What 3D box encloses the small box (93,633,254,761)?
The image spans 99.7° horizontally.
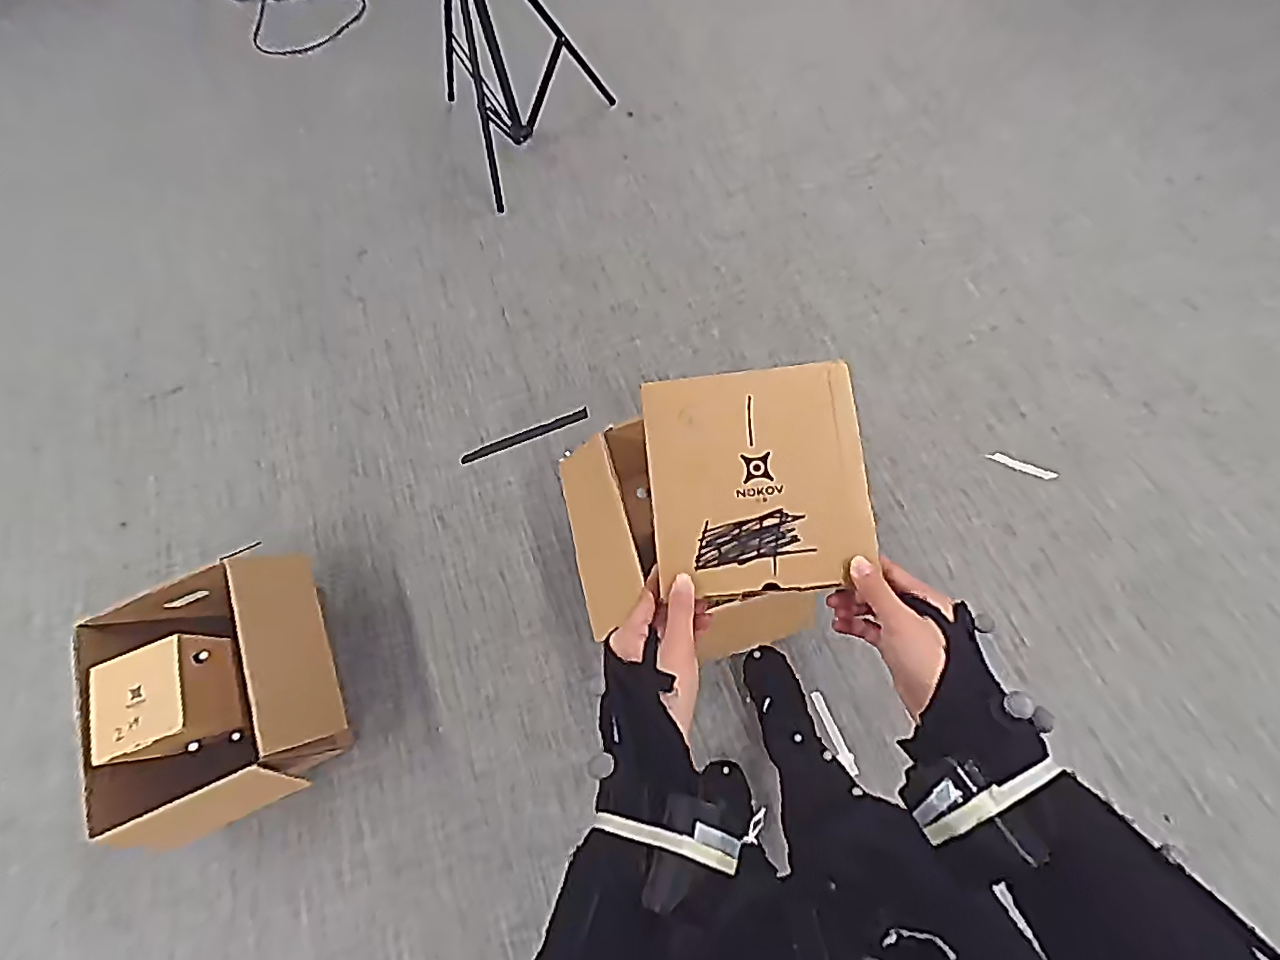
[{"bbox_3d":[-0.885,0.413,1.040,0.168,0.176,0.179,-22,69,-2],"label":"small box"}]

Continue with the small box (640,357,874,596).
[{"bbox_3d":[0.093,0.007,0.497,0.168,0.176,0.179,-6,80,3],"label":"small box"}]
